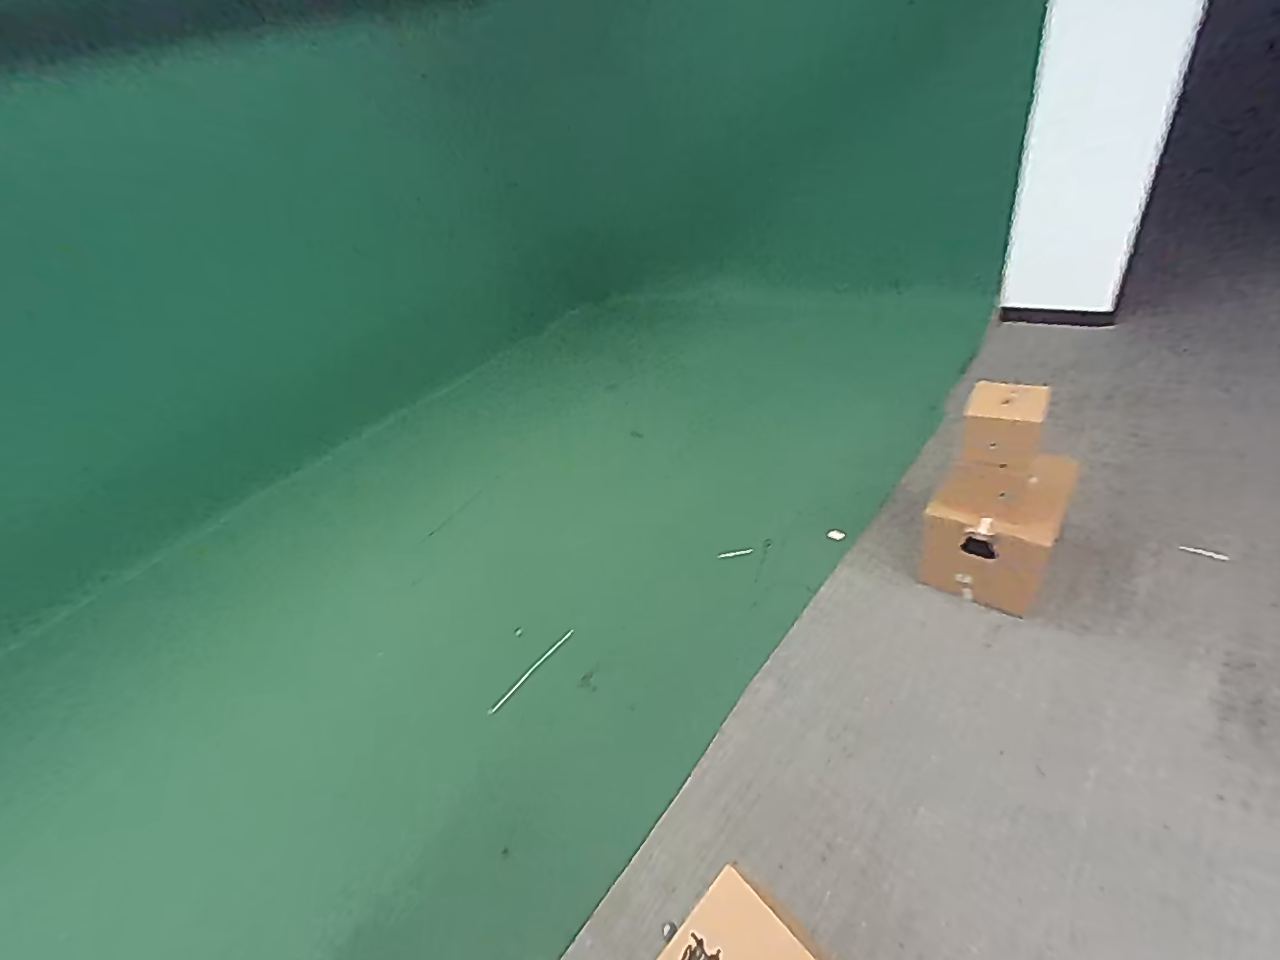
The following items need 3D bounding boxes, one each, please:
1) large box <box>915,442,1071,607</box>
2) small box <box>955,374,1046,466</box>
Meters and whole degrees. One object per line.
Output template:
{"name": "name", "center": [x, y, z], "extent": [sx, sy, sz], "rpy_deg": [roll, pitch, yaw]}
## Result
{"name": "large box", "center": [1.099, 0.119, 1.704], "extent": [0.320, 0.320, 0.408], "rpy_deg": [19, 49, 38]}
{"name": "small box", "center": [0.952, -0.159, 1.435], "extent": [0.168, 0.176, 0.179], "rpy_deg": [15, 46, 34]}
